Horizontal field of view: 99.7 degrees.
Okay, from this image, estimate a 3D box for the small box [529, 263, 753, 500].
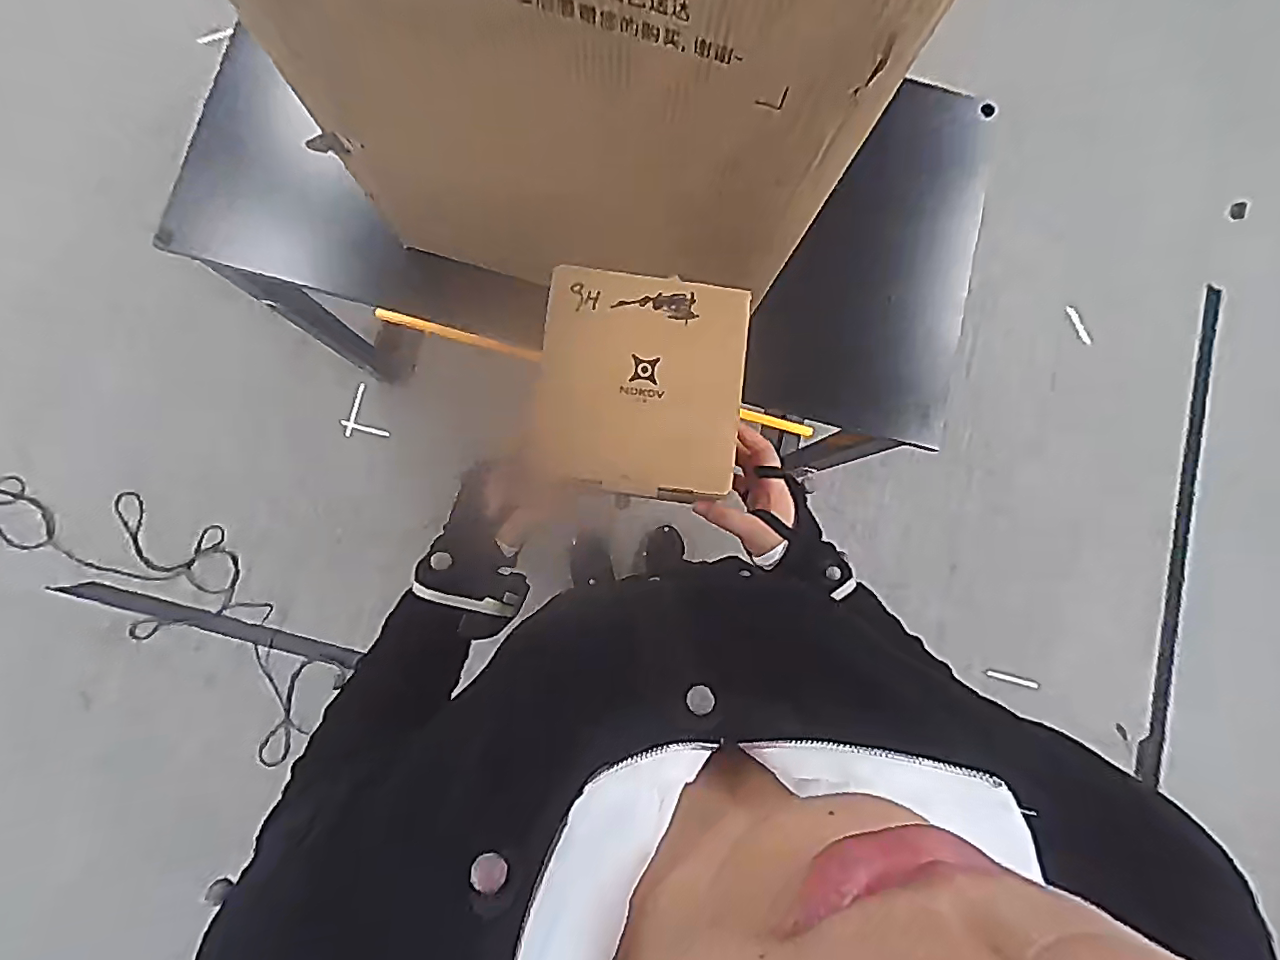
[{"bbox_3d":[-0.002,-0.077,0.513,0.168,0.176,0.179,6,87,-4],"label":"small box"}]
